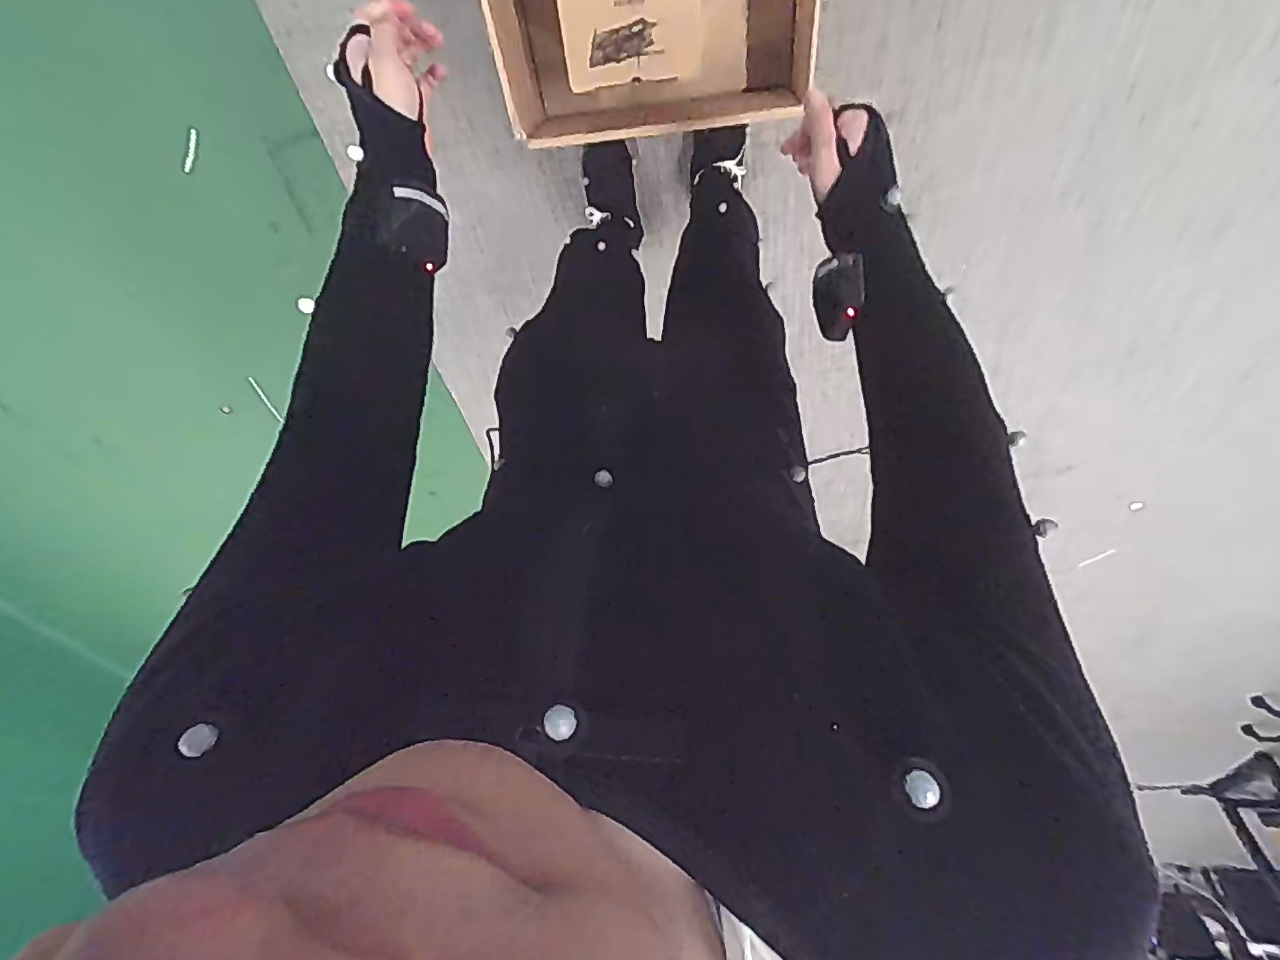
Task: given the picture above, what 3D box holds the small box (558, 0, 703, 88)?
[{"bbox_3d":[-0.007,-0.604,0.657,0.168,0.176,0.179,-2,133,7],"label":"small box"}]
